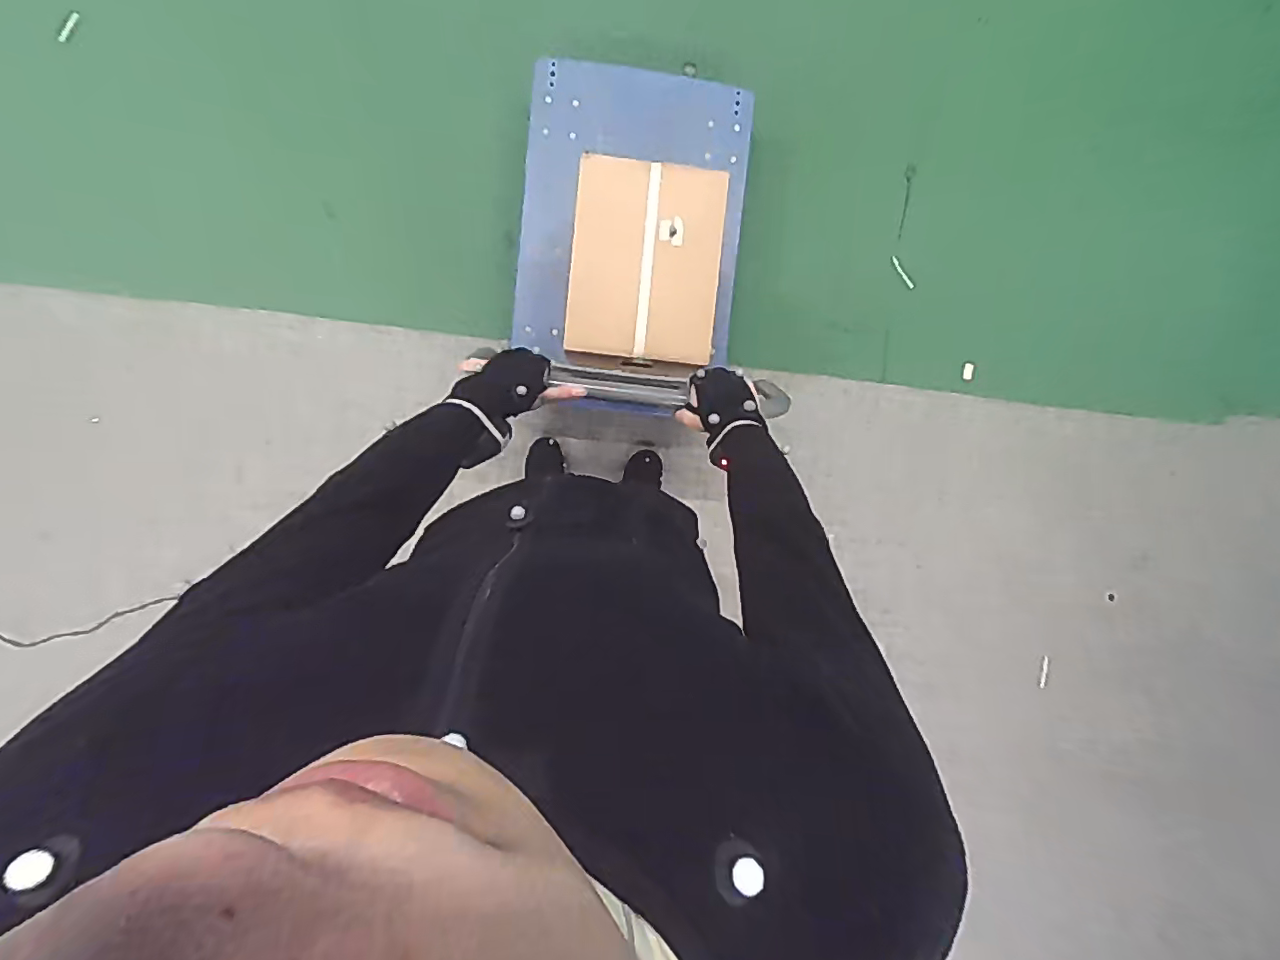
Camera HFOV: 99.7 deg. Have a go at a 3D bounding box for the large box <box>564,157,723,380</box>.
[{"bbox_3d":[-0.002,-0.464,1.282,0.320,0.320,0.408,5,93,-6],"label":"large box"}]
